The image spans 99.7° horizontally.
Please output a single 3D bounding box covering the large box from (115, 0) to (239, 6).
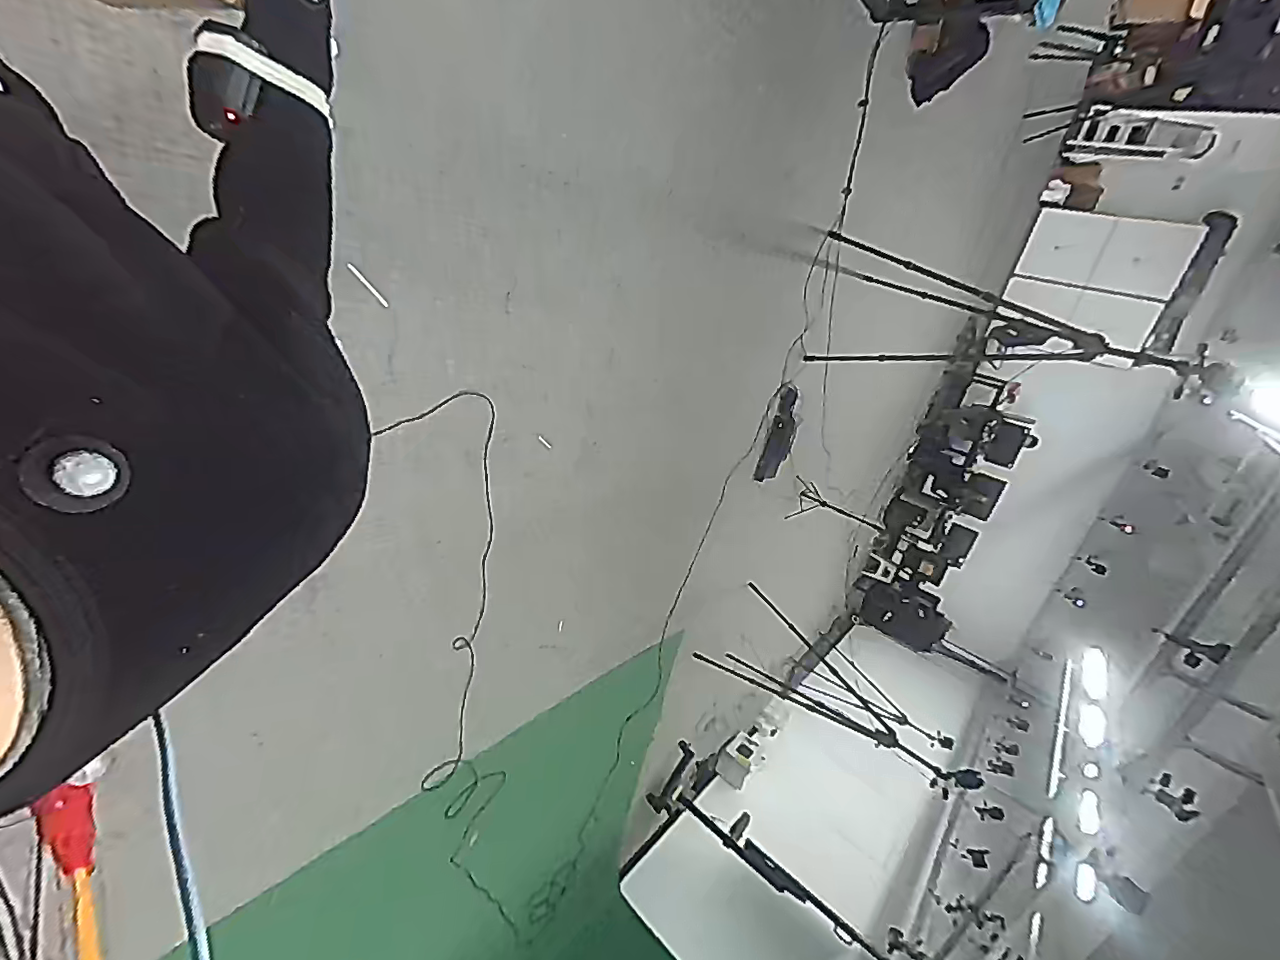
[{"bbox_3d":[-0.505,-0.538,0.287,0.408,0.320,0.320,-14,126,-53],"label":"large box"}]
